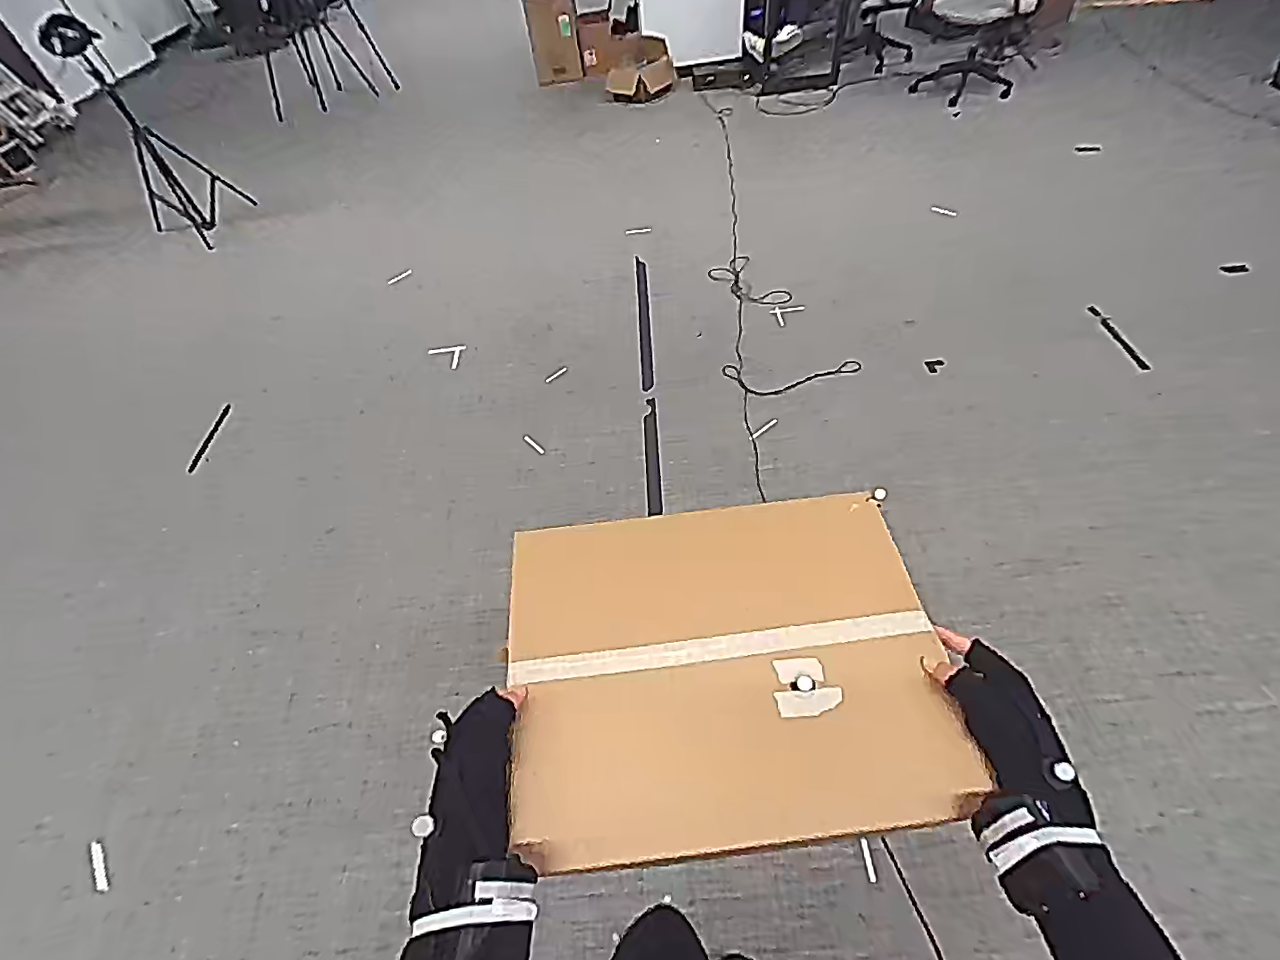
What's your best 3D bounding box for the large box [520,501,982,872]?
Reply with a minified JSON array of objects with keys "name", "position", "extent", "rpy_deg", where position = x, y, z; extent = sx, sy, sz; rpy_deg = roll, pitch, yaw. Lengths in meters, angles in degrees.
[{"name":"large box","position":[0.083,0.259,0.657],"extent":[0.408,0.320,0.320],"rpy_deg":[-7,55,-2]}]
